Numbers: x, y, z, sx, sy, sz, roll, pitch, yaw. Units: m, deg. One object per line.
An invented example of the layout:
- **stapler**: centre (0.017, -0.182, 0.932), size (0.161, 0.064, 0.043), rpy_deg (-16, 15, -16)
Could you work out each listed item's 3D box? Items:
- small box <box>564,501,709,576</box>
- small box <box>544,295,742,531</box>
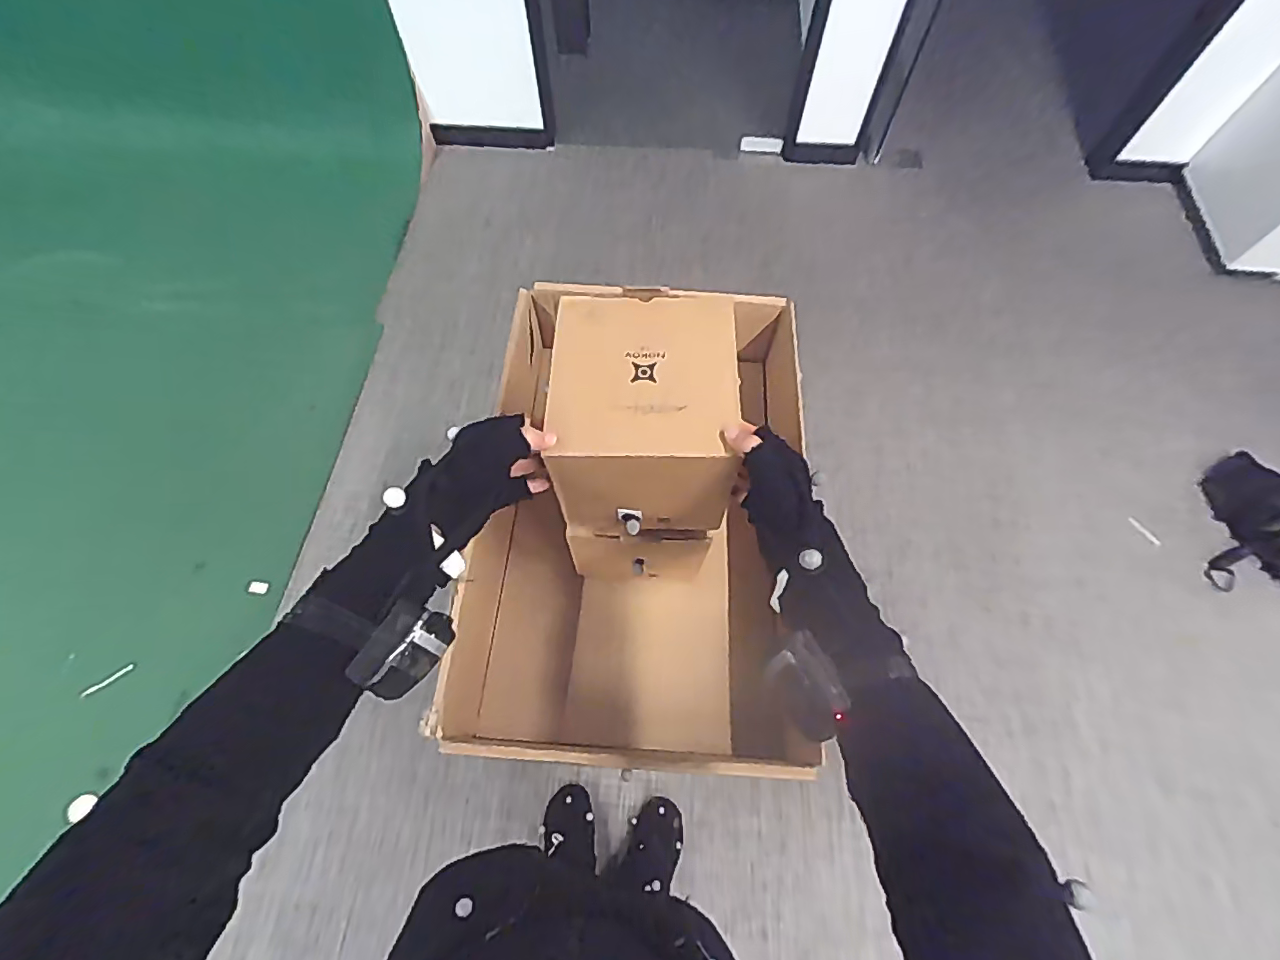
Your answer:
- **small box**: centre (0.001, 0.020, 0.704), size (0.168, 0.176, 0.179), rpy_deg (4, 65, 0)
- **small box**: centre (0.006, -0.061, 0.546), size (0.168, 0.176, 0.179), rpy_deg (1, 65, 2)
